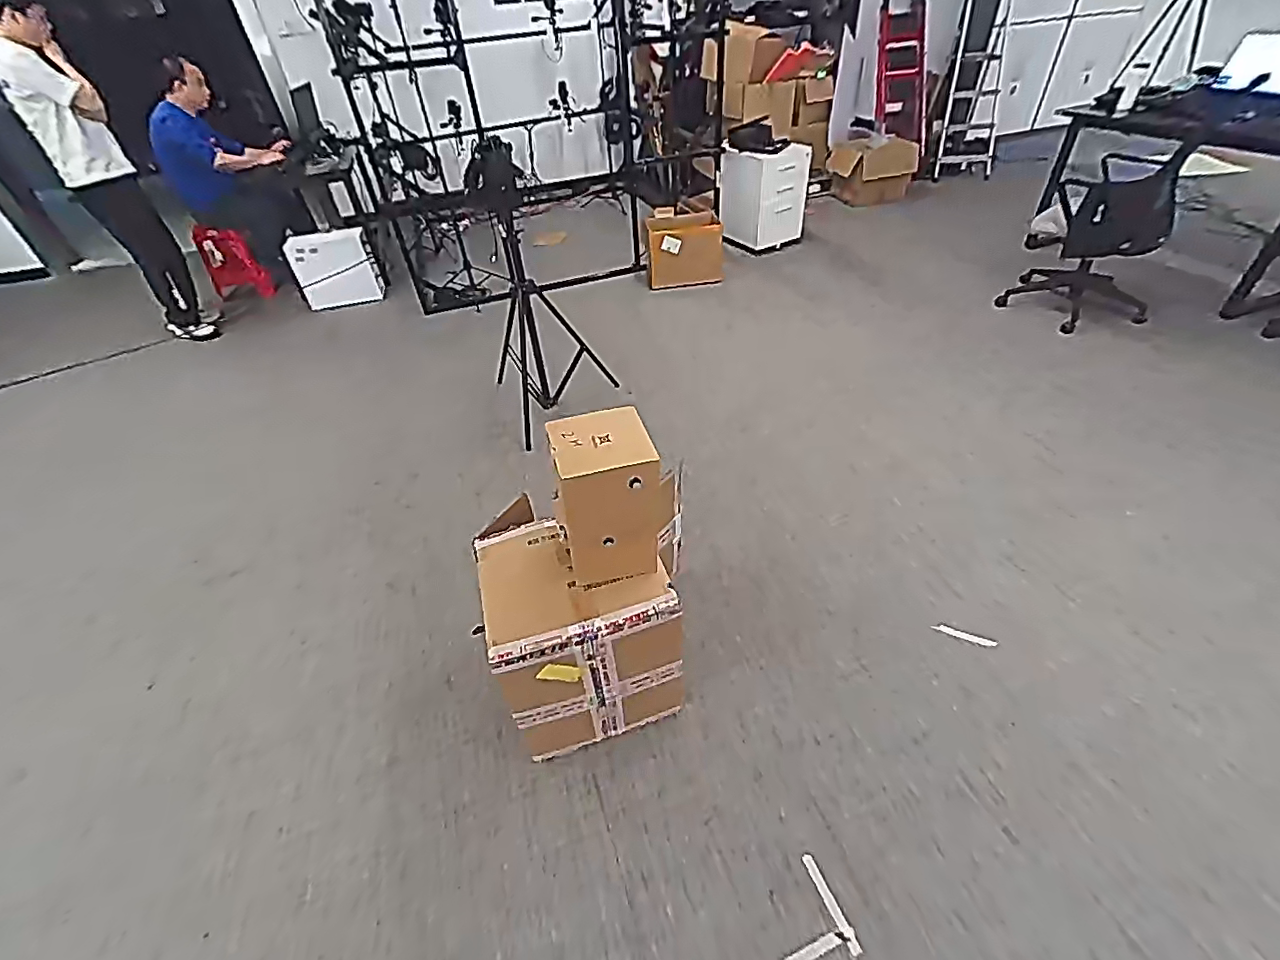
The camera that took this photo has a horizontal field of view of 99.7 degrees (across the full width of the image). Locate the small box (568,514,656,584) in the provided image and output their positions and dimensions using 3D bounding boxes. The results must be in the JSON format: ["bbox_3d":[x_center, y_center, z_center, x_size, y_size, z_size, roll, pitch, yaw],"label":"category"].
[{"bbox_3d":[-0.068,0.098,1.138,0.179,0.176,0.168,-10,44,-9],"label":"small box"}]

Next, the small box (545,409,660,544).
[{"bbox_3d":[-0.071,-0.006,1.007,0.179,0.176,0.168,-12,43,-11],"label":"small box"}]
